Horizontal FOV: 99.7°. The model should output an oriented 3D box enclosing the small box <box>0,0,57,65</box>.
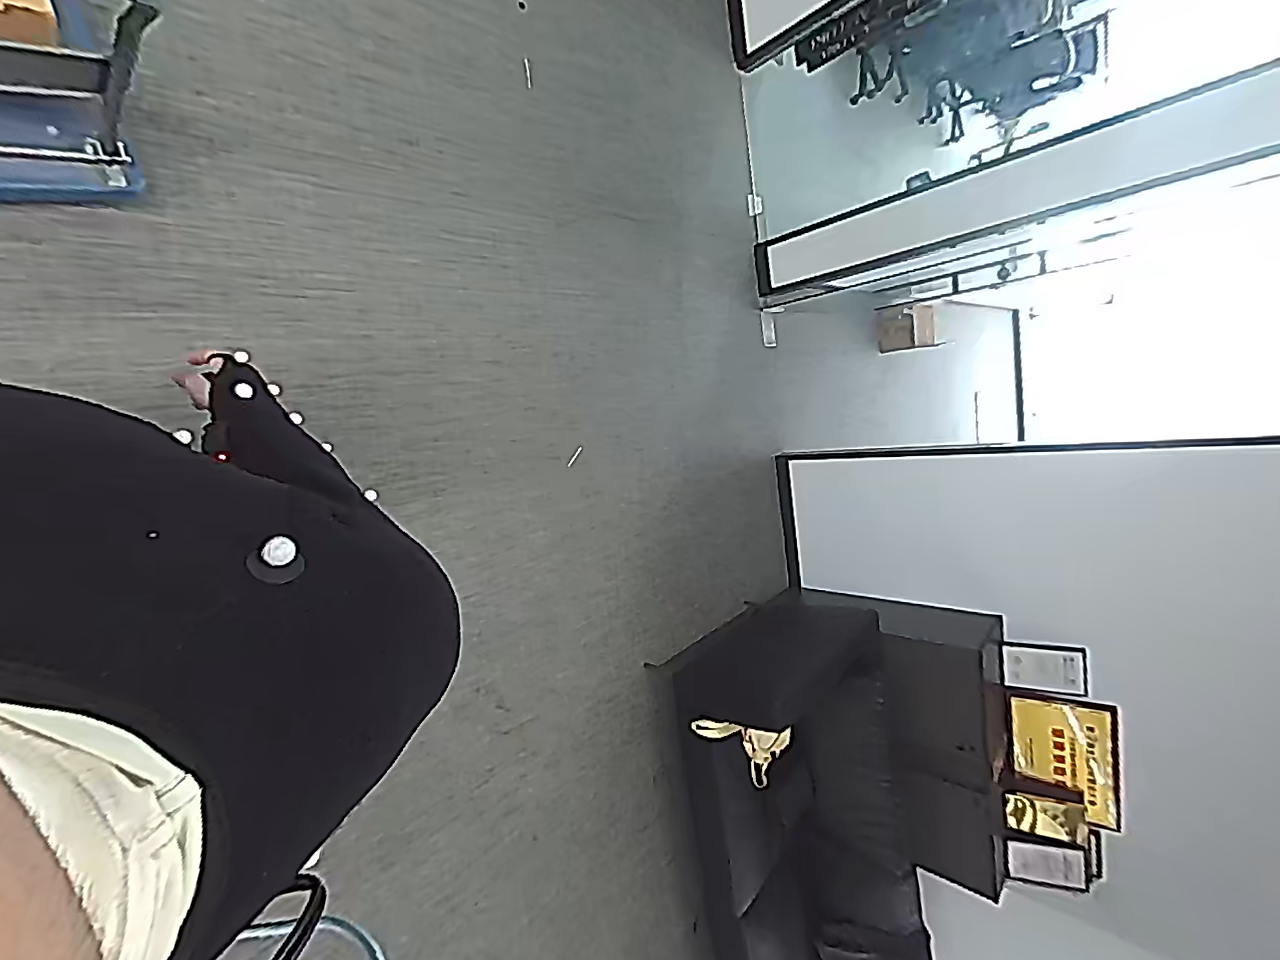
[{"bbox_3d":[-1.115,-0.841,0.894,0.168,0.176,0.179,-23,108,-43],"label":"small box"}]
